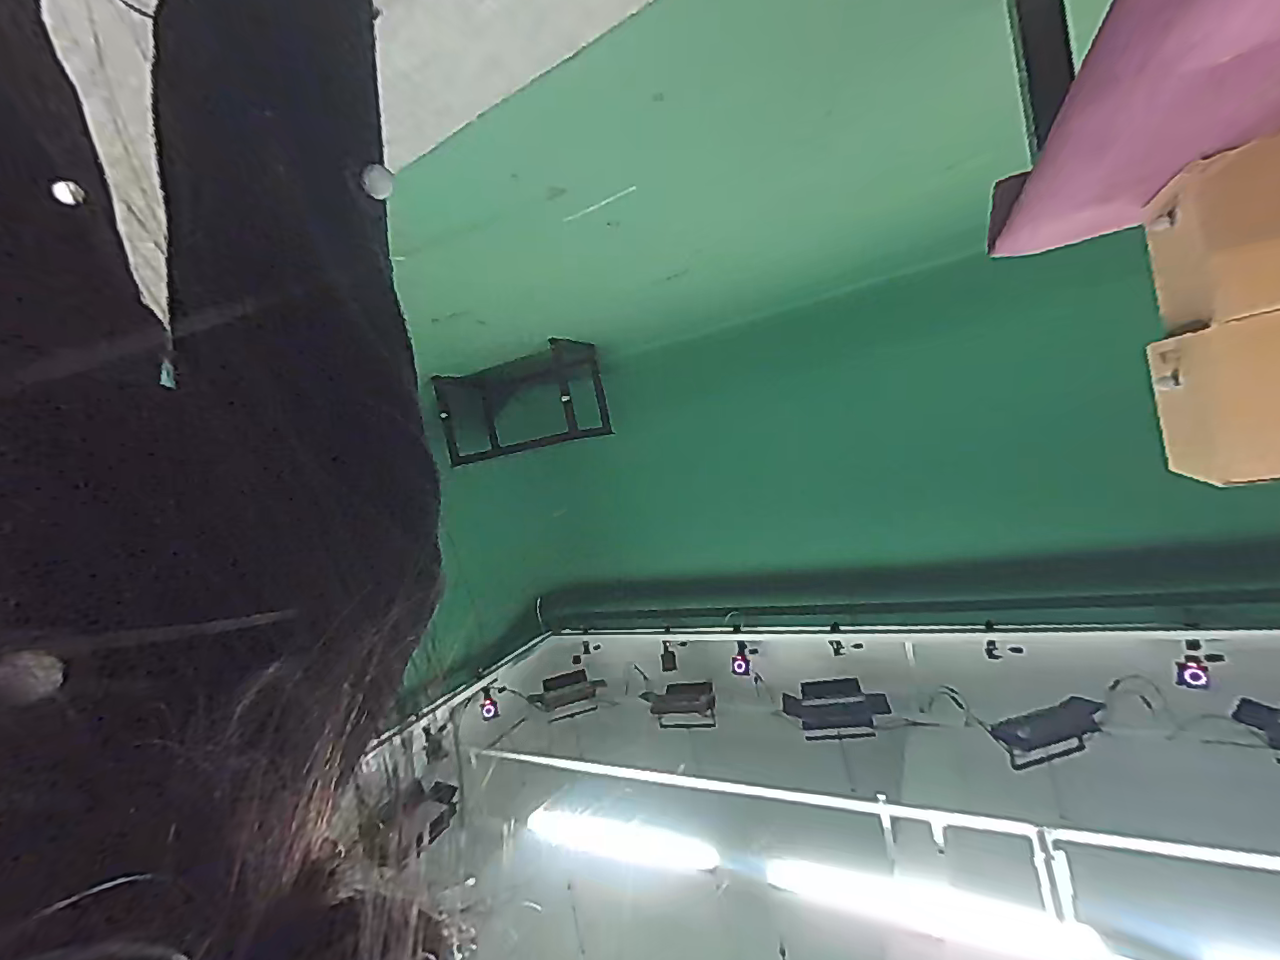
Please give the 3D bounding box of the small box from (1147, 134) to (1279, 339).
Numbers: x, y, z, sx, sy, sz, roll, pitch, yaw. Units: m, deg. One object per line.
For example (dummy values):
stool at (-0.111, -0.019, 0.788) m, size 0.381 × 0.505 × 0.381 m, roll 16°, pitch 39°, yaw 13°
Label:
small box at (0.665, -0.253, 0.549) m, size 0.179 × 0.176 × 0.168 m, roll -11°, pitch -178°, yaw 31°

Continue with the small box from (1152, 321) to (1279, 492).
small box at (0.697, -0.093, 0.576) m, size 0.179 × 0.176 × 0.168 m, roll -11°, pitch -179°, yaw 31°
